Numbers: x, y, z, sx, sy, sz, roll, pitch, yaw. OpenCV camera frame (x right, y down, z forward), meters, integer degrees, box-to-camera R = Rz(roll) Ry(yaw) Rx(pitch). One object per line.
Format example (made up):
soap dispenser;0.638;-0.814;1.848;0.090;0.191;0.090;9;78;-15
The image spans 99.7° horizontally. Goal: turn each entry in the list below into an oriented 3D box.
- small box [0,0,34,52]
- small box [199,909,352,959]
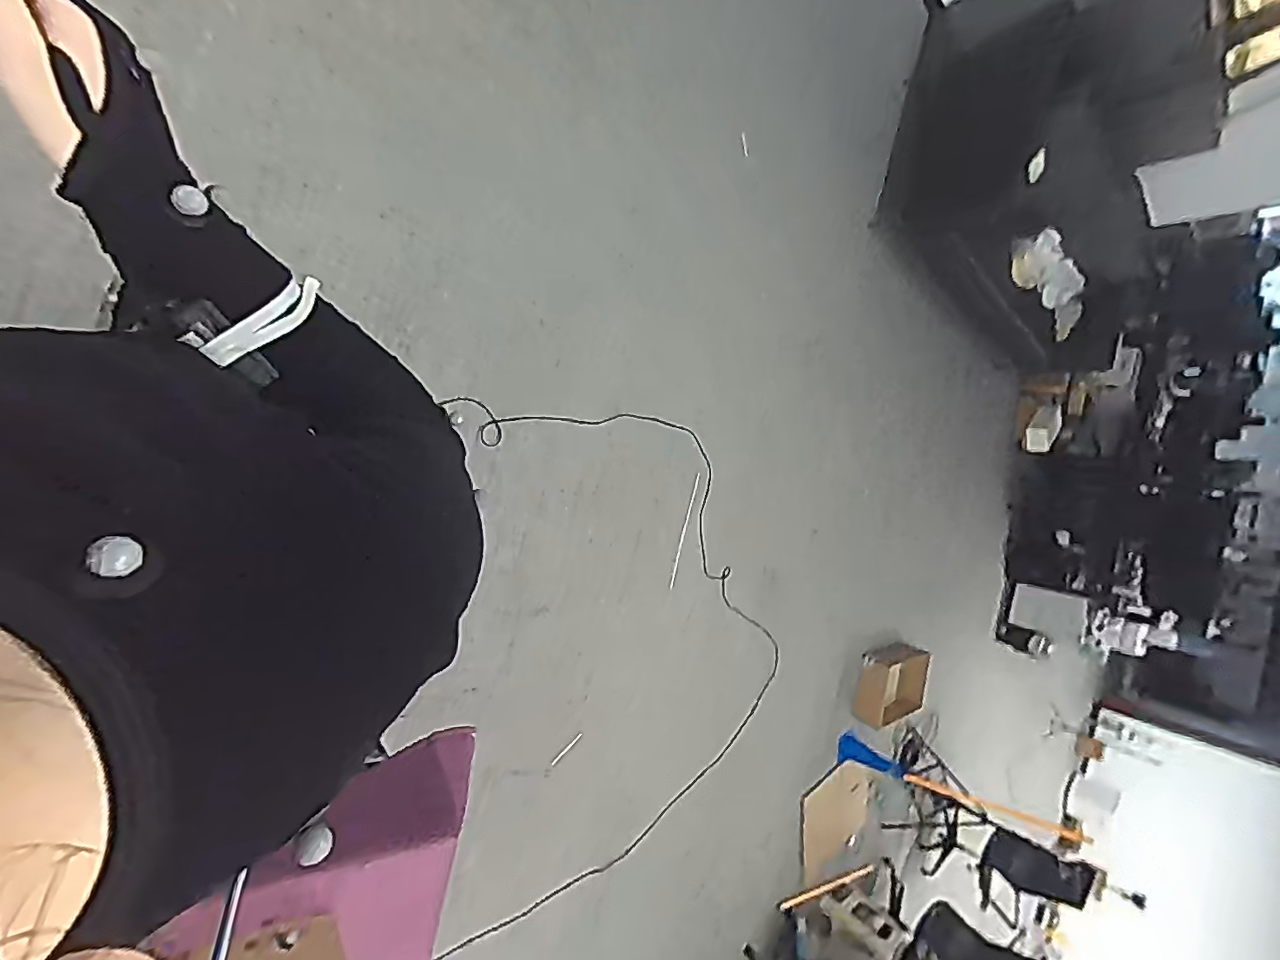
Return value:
small box;-0.405;-0.286;0.211;0.179;0.176;0.168;-30;124;-41
small box;-0.460;0.687;0.662;0.168;0.176;0.179;20;84;-41
